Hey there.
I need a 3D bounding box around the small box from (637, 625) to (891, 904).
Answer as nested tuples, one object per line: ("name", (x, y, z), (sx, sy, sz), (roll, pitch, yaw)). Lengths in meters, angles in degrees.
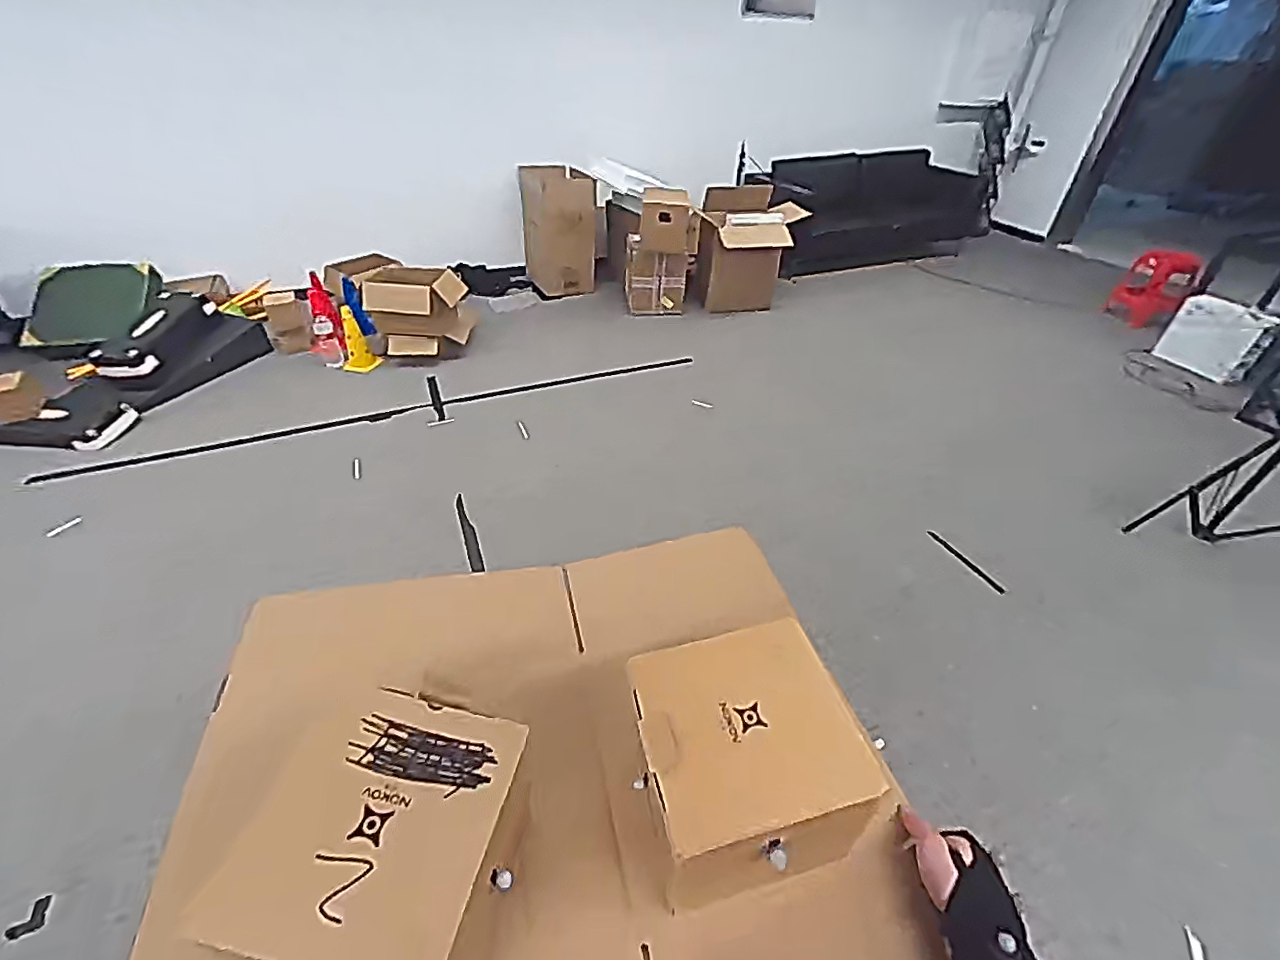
("small box", (0.100, 0.272, 0.524), (0.179, 0.176, 0.168), (-11, 41, -9))
